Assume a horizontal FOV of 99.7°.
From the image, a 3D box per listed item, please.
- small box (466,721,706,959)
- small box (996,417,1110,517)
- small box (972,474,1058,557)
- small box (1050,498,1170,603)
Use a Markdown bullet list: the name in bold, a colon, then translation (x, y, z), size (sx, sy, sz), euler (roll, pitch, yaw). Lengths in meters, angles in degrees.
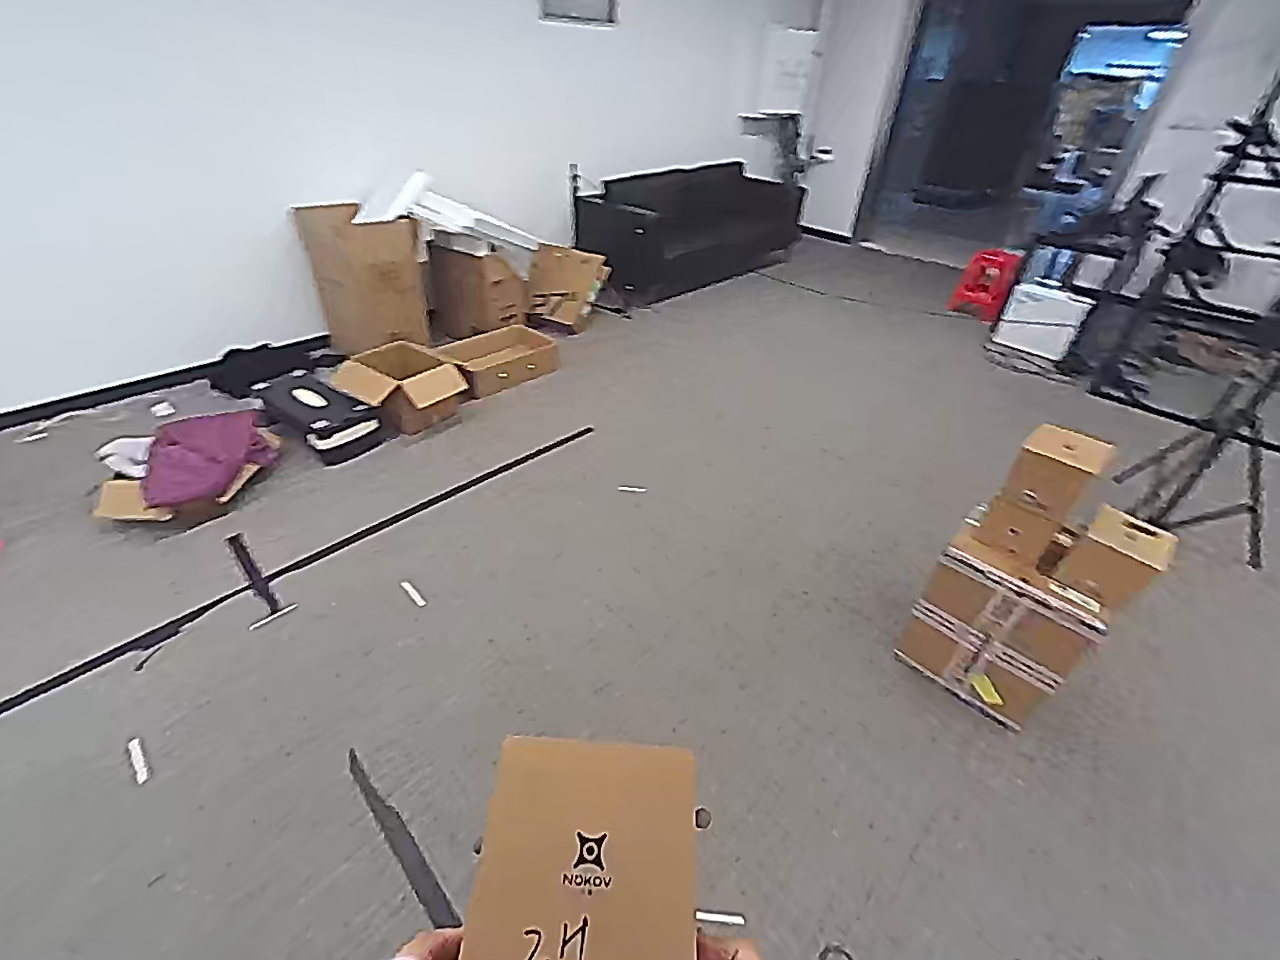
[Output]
- **small box**: translation (-0.035, 0.333, 0.470), size (0.168, 0.176, 0.179), euler (4, 49, 1)
- **small box**: translation (1.074, -0.036, 1.417), size (0.179, 0.176, 0.168), euler (-31, 46, -32)
- **small box**: translation (1.073, 0.086, 1.526), size (0.179, 0.176, 0.168), euler (-30, 46, -32)
- **small box**: translation (1.217, 0.183, 1.408), size (0.179, 0.176, 0.168), euler (-31, 49, -33)
